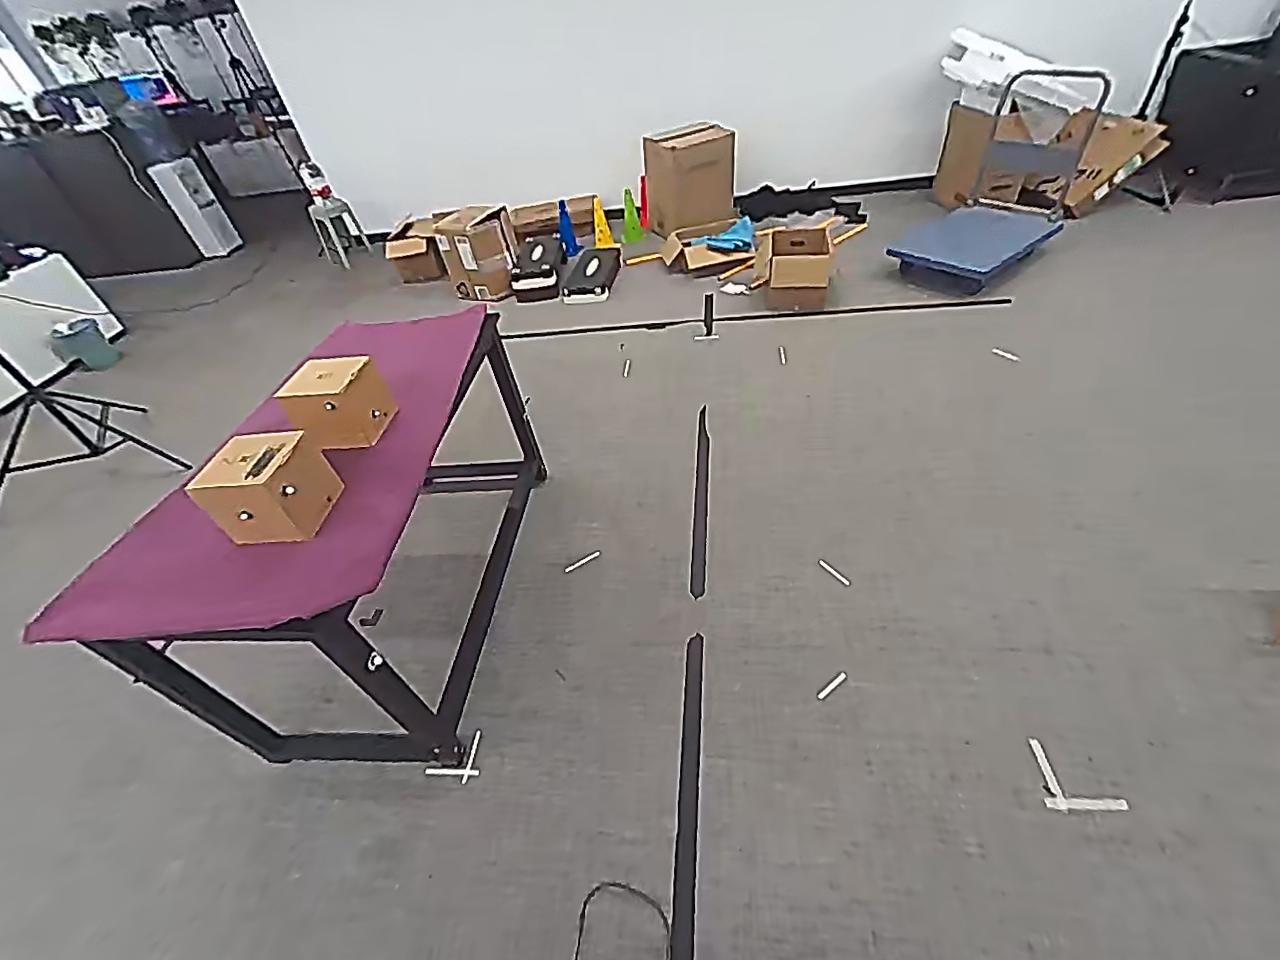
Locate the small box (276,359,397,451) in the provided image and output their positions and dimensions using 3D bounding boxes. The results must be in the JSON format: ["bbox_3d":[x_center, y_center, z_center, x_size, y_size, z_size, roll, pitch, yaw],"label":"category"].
[{"bbox_3d":[-0.759,-0.187,1.371,0.179,0.176,0.168,-2,43,8],"label":"small box"}]
